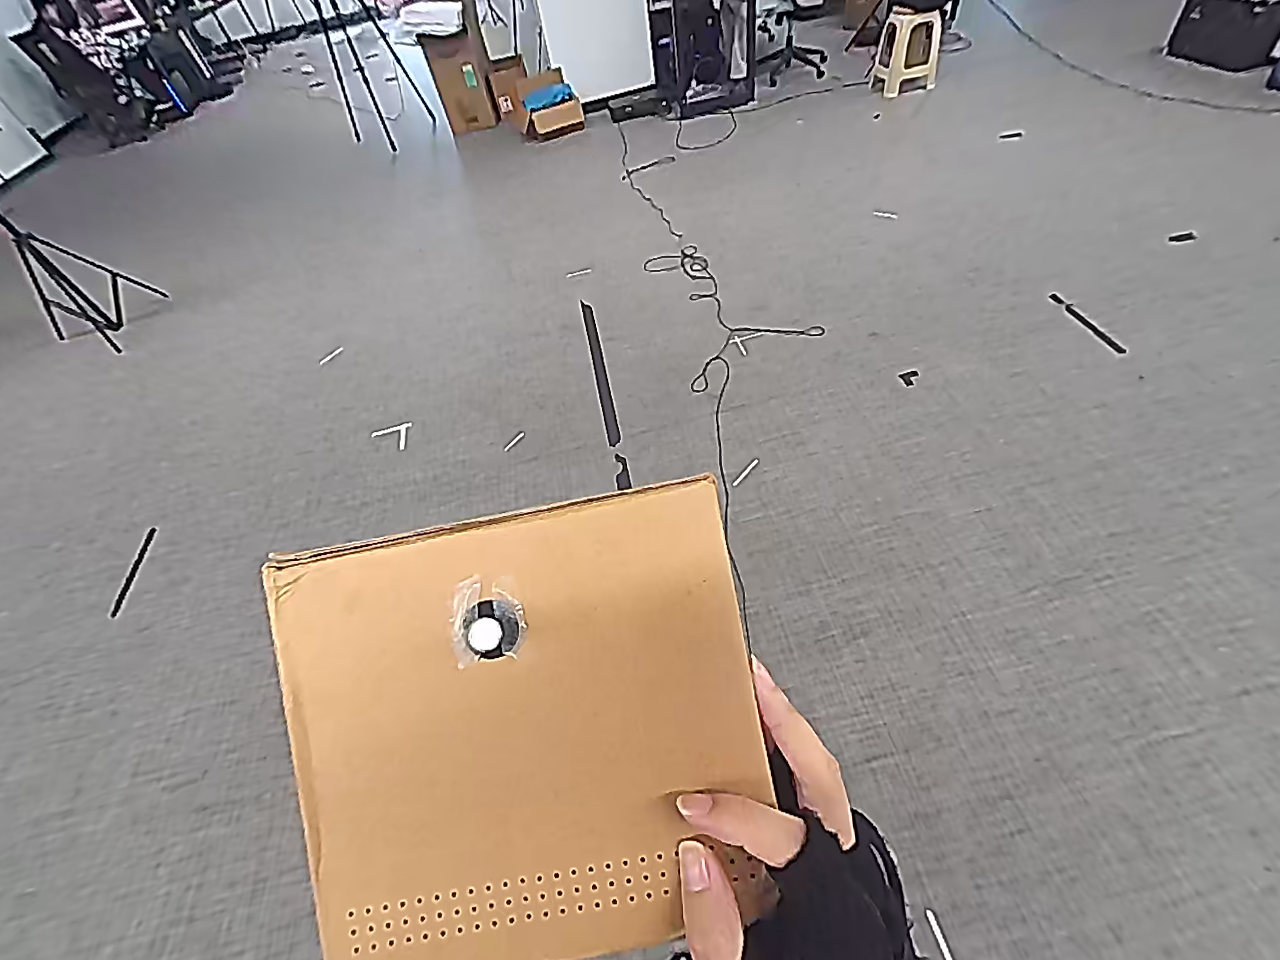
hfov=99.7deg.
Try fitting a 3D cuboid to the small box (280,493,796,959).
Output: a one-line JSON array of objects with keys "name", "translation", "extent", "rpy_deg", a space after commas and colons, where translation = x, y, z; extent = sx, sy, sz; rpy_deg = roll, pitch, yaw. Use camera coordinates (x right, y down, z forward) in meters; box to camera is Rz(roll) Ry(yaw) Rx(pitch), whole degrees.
[{"name": "small box", "translation": [-0.038, 0.106, 0.280], "extent": [0.179, 0.168, 0.176], "rpy_deg": [-11, 88, 1]}]
